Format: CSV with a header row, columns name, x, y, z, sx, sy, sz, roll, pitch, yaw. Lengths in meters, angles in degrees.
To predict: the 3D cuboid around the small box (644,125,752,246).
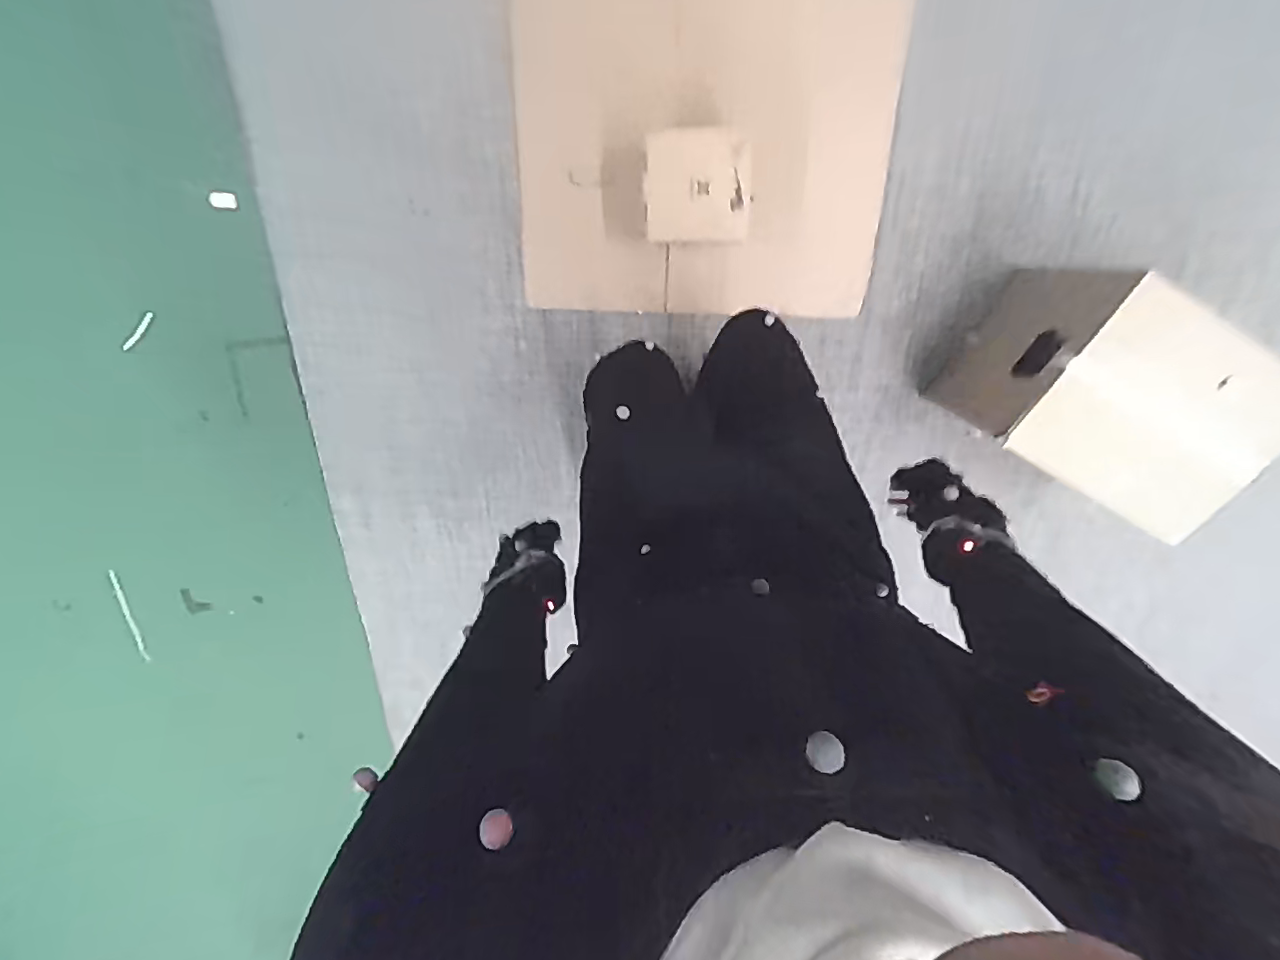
name,x,y,z,sx,sy,sz,roll,pitch,yaw
small box,0.103,-0.520,0.975,0.179,0.176,0.168,-1,110,5
